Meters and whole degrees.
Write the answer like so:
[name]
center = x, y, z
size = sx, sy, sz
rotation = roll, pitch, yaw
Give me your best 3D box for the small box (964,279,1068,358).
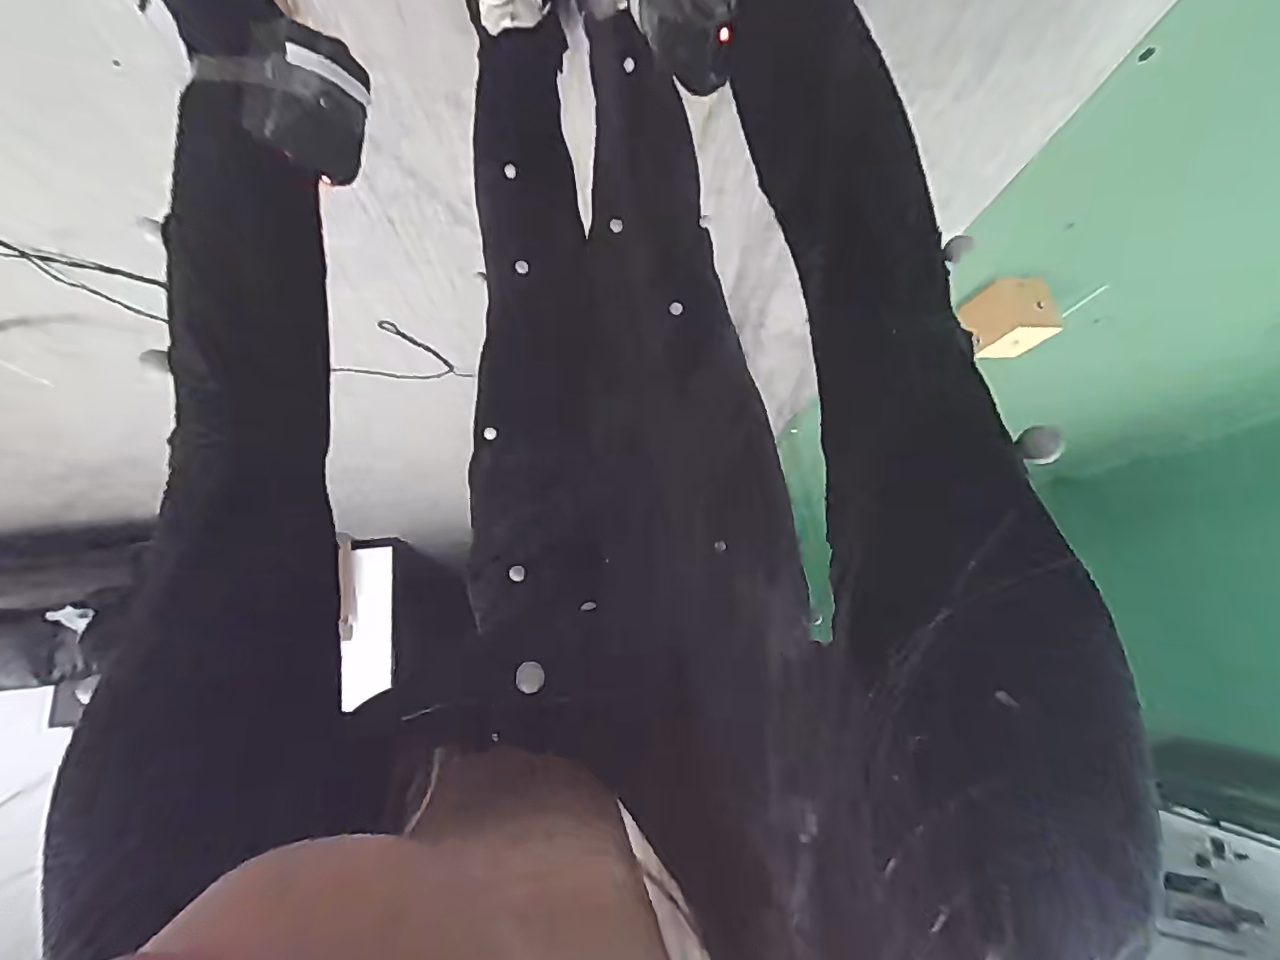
[small box]
center = 1.109, -0.481, 1.611
size = 0.168, 0.176, 0.179
rotation = -3, 165, -12
